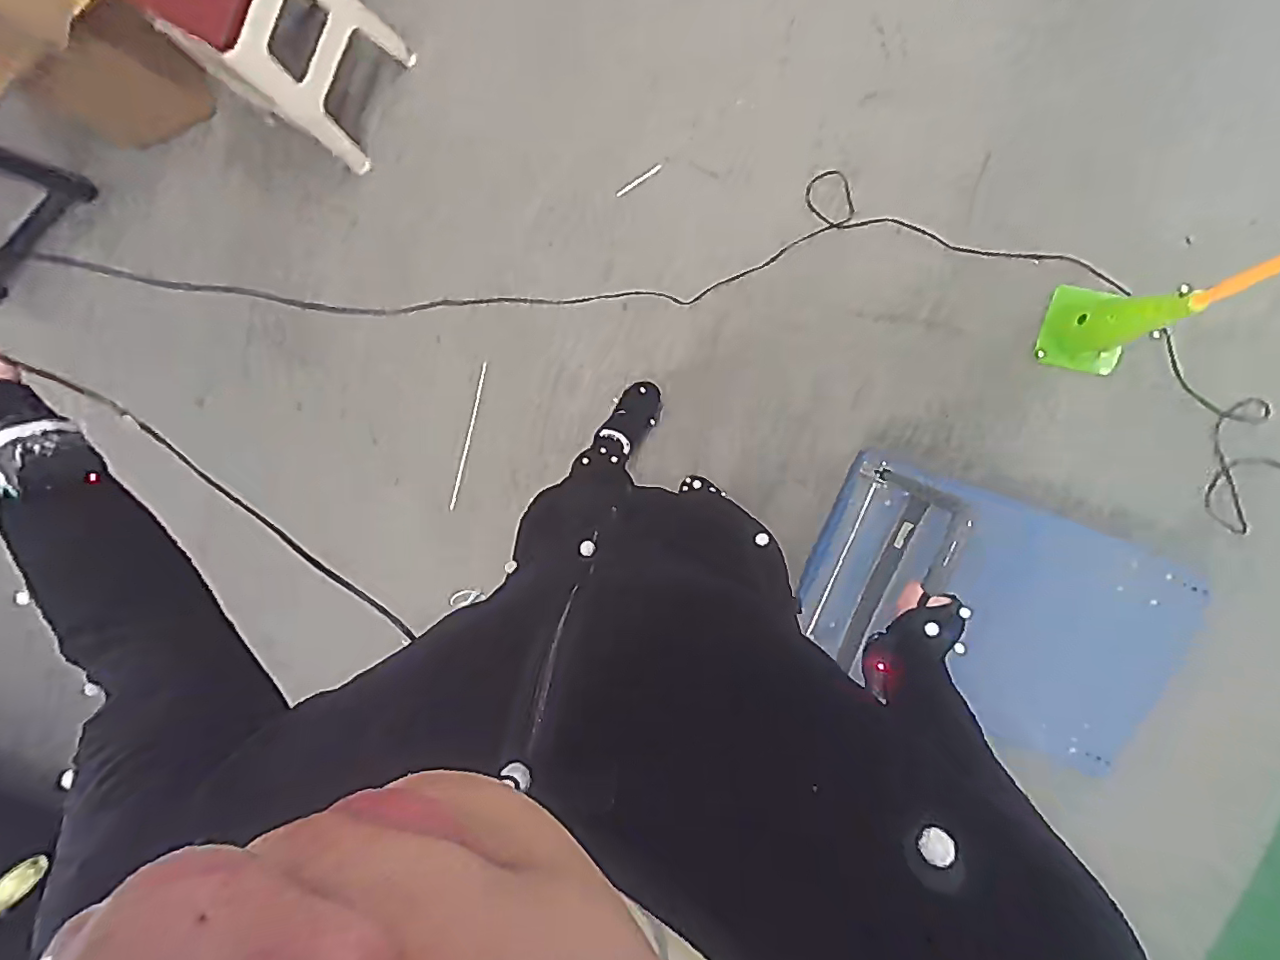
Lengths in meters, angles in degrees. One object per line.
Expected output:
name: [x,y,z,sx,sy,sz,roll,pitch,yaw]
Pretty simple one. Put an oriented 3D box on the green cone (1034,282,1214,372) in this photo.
green cone: [1.122,-0.376,1.226,0.200,0.368,0.202,14,97,6]
